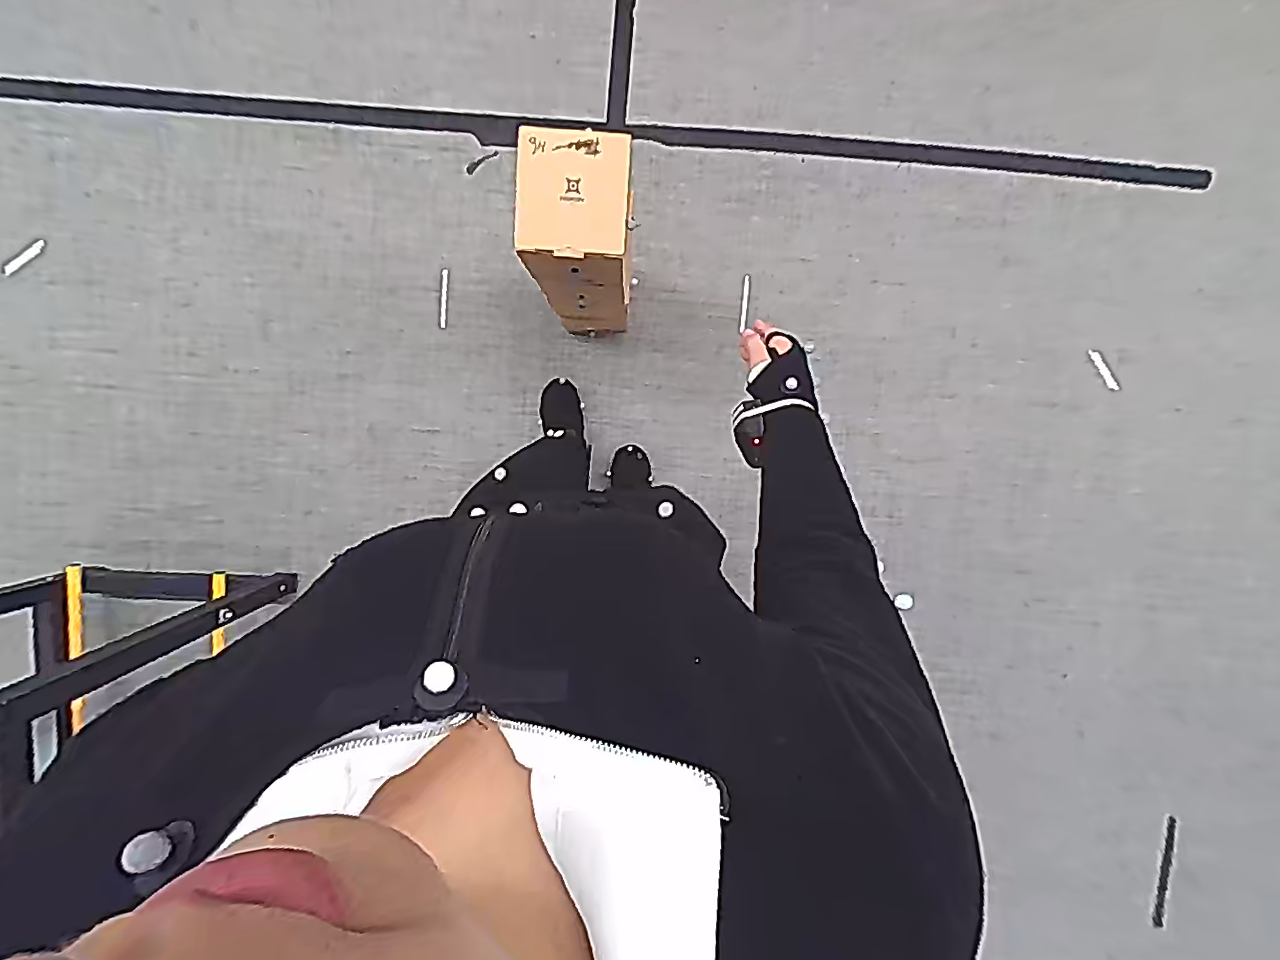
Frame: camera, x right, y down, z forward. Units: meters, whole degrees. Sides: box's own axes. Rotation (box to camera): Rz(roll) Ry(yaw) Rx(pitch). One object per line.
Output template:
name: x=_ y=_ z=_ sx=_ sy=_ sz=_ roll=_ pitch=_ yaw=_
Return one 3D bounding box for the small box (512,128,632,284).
small box: x=-0.101 y=-0.425 z=0.868 sx=0.168 sy=0.176 sz=0.179 roll=4 pitch=96 yaw=-1

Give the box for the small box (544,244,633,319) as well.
small box: x=-0.108 y=-0.457 z=1.195 sx=0.179 sy=0.176 sz=0.168 roll=3 pitch=96 yaw=-2

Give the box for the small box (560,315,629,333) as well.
small box: x=-0.112 y=-0.472 z=1.358 sx=0.168 sy=0.176 sz=0.179 roll=-1 pitch=97 yaw=0

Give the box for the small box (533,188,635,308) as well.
small box: x=-0.101 y=-0.443 z=1.030 sx=0.168 sy=0.176 sz=0.179 roll=6 pitch=96 yaw=-1
